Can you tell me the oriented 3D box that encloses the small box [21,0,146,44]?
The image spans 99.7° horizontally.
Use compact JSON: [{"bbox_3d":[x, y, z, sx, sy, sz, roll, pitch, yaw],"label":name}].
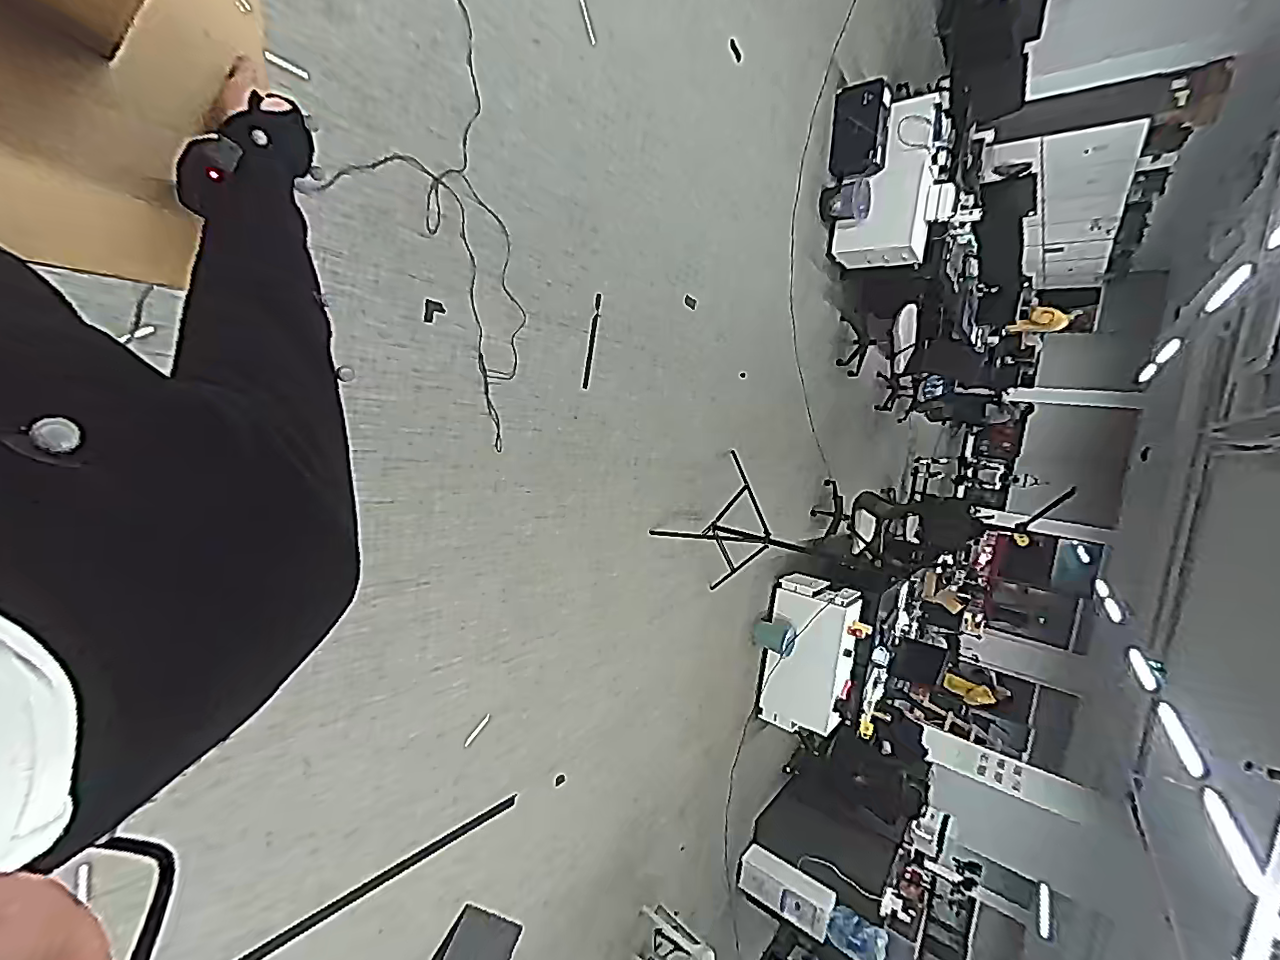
[{"bbox_3d":[-0.452,-0.475,0.384,0.179,0.176,0.168,12,80,-53],"label":"small box"}]
